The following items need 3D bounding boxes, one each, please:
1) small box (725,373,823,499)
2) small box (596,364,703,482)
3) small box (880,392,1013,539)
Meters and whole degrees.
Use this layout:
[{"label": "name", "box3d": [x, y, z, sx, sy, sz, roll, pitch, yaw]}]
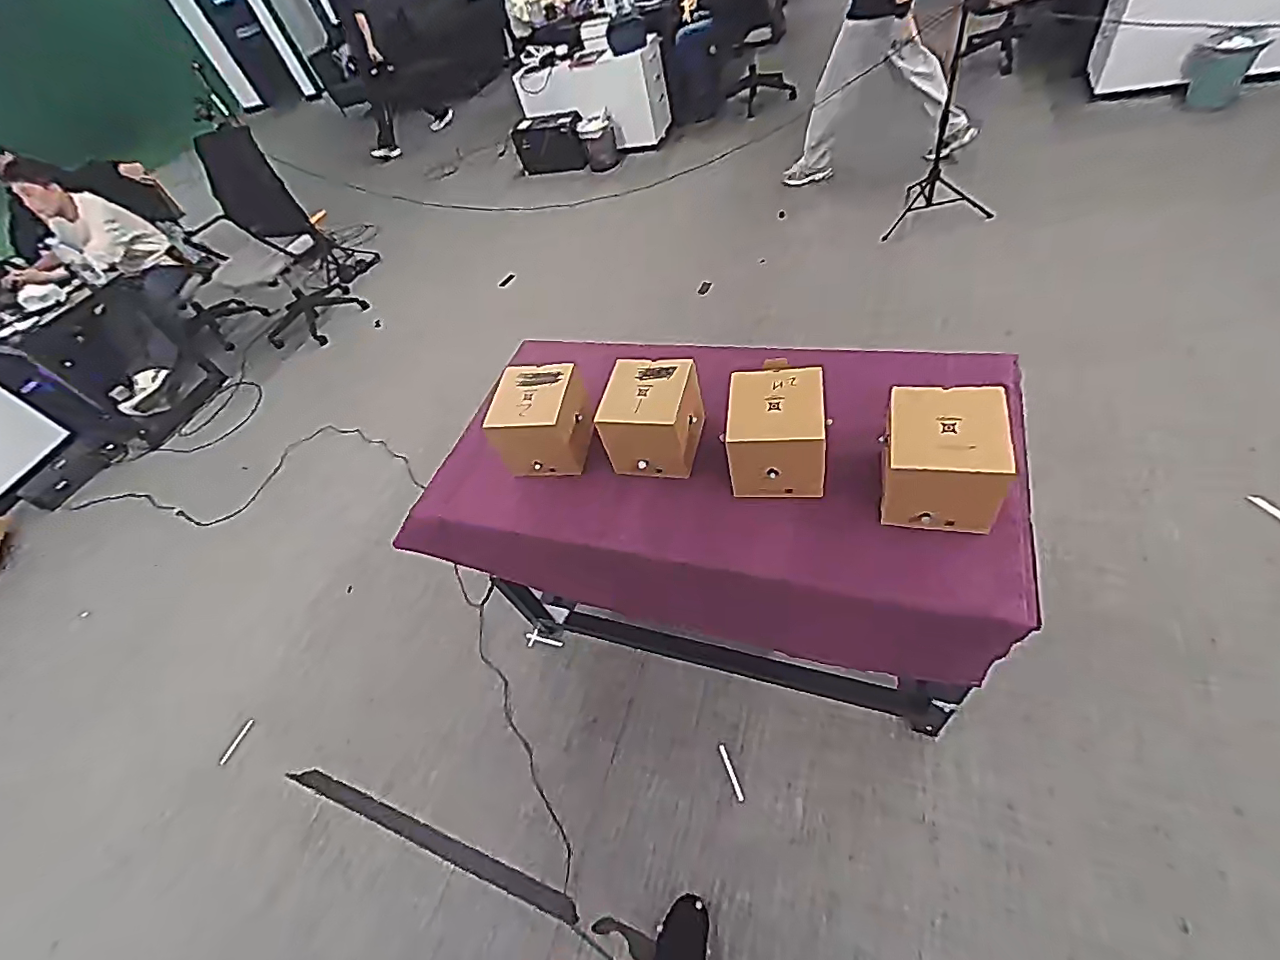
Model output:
[{"label": "small box", "box3d": [0.259, -0.078, 1.022, 0.168, 0.176, 0.179, 0, 52, 16]}, {"label": "small box", "box3d": [0.030, -0.119, 1.125, 0.168, 0.176, 0.179, 5, 54, 20]}, {"label": "small box", "box3d": [0.500, -0.026, 0.908, 0.168, 0.176, 0.179, 4, 53, 21]}]
